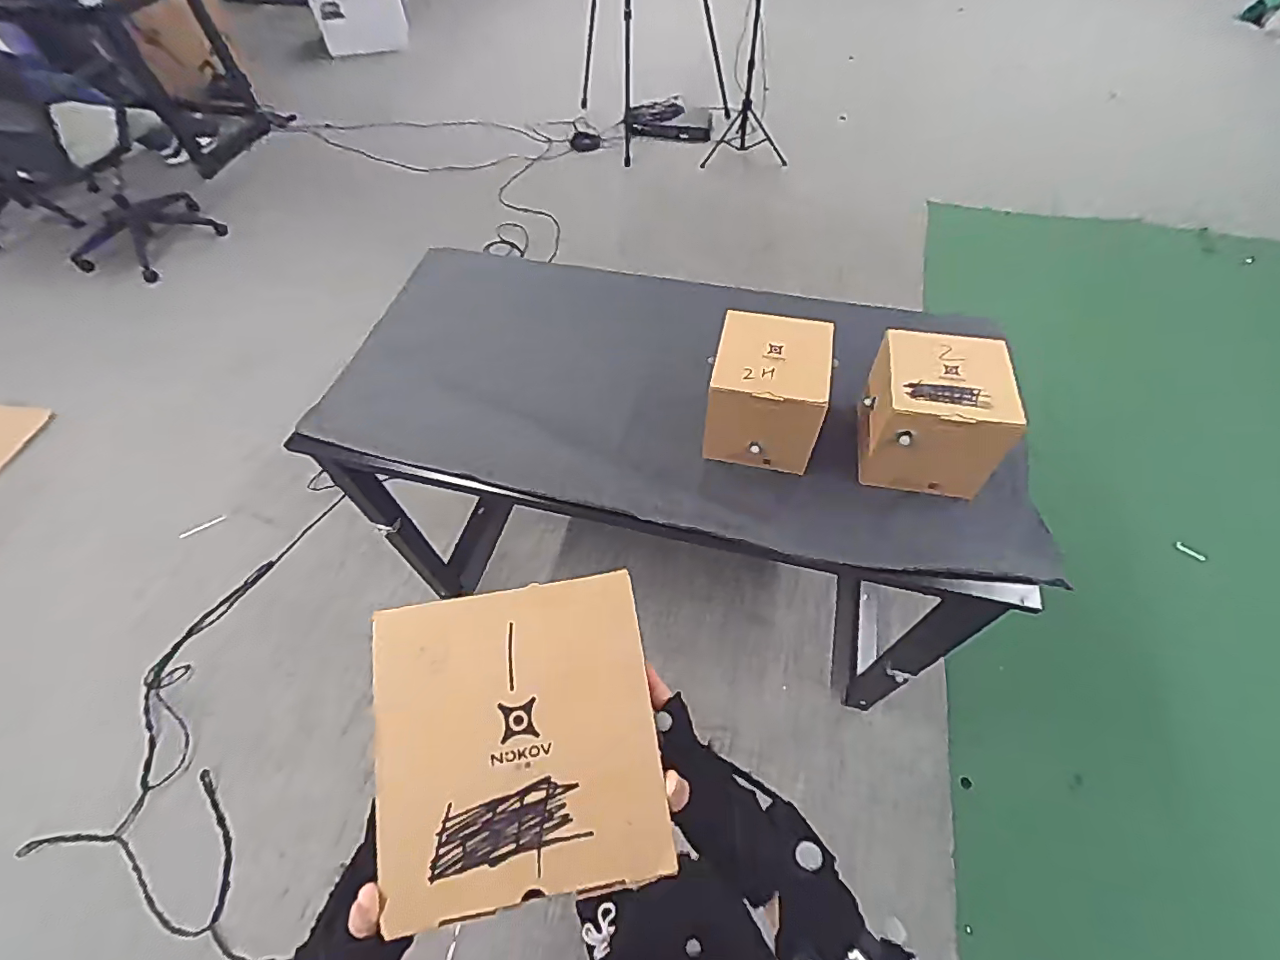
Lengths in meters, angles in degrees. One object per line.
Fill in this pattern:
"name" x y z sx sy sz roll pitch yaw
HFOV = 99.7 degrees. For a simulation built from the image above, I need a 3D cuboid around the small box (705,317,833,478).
"small box" 0.200 -0.130 0.861 0.168 0.176 0.179 10 56 10
